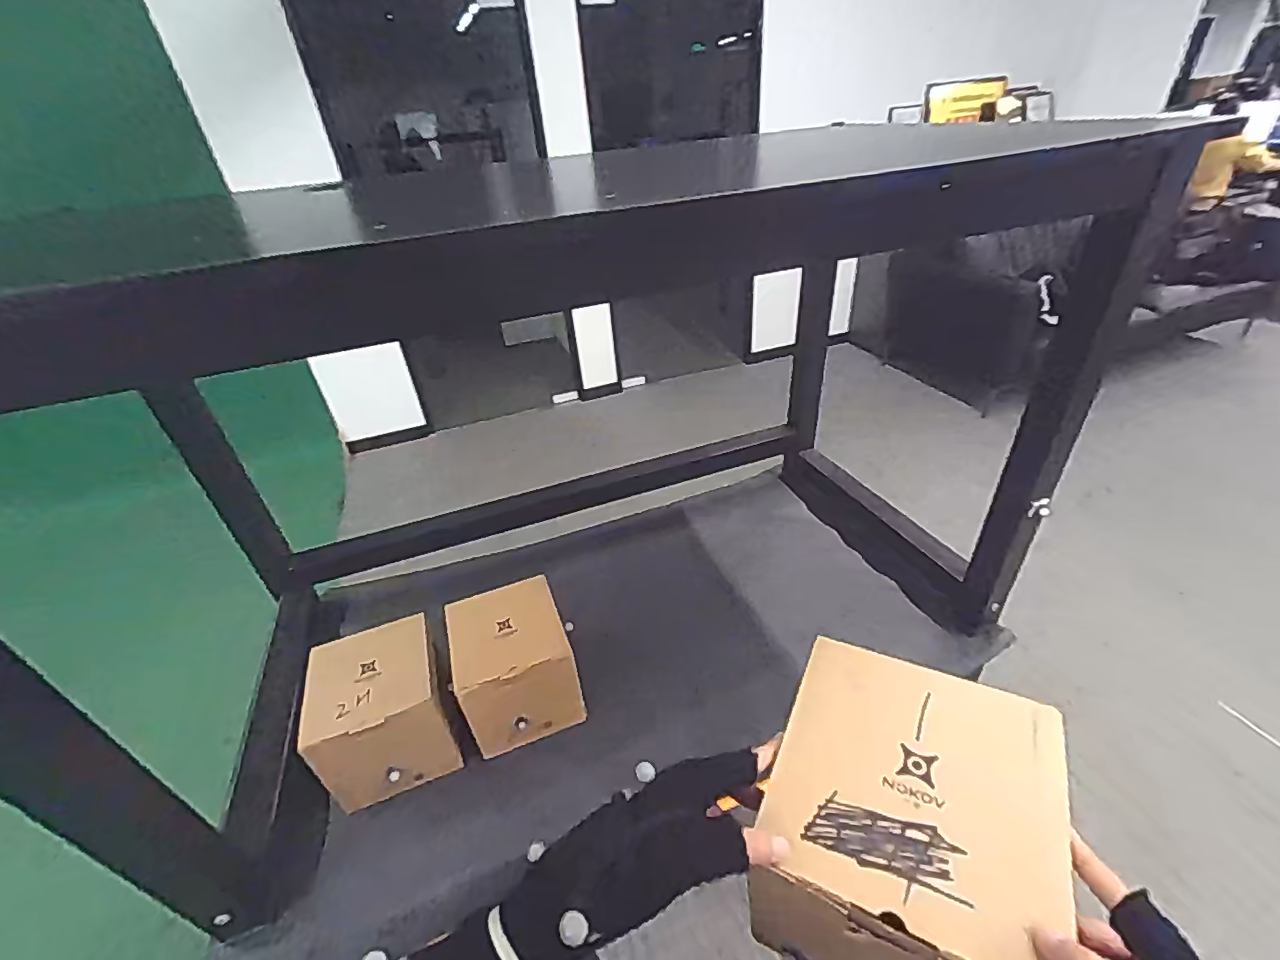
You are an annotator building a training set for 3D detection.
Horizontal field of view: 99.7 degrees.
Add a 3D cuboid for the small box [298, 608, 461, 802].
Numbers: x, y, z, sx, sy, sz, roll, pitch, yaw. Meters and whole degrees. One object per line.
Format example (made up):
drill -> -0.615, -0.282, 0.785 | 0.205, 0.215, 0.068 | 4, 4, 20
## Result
small box -> -0.376, 0.330, 0.805 | 0.168, 0.176, 0.179 | -16, 35, -15
